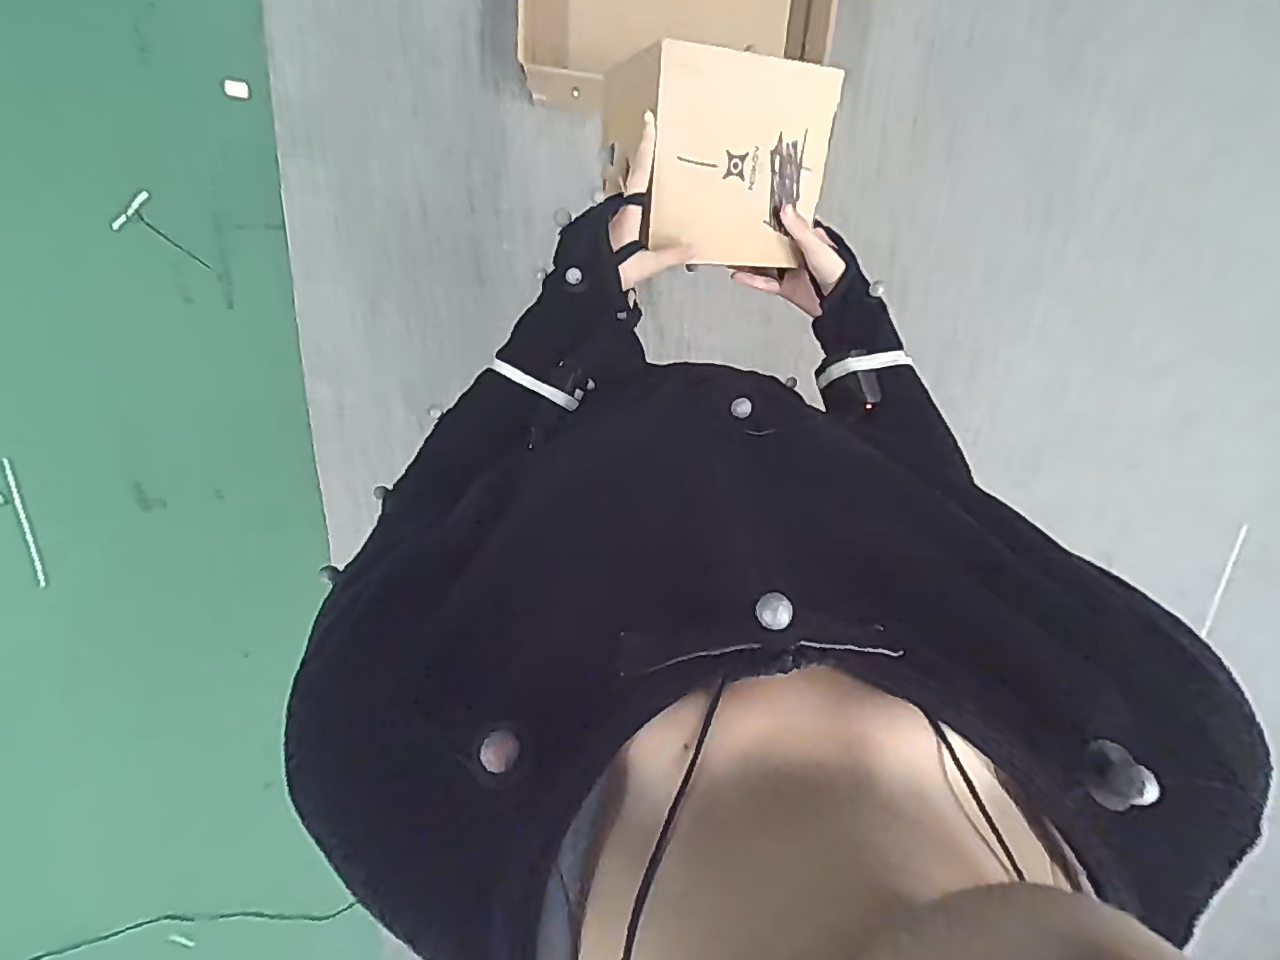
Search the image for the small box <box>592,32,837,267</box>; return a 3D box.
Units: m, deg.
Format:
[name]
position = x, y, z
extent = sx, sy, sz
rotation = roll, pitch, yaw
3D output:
[small box]
position = 0.059, -0.319, 0.548
extent = 0.179, 0.176, 0.168
rotation = -4, 118, -18
